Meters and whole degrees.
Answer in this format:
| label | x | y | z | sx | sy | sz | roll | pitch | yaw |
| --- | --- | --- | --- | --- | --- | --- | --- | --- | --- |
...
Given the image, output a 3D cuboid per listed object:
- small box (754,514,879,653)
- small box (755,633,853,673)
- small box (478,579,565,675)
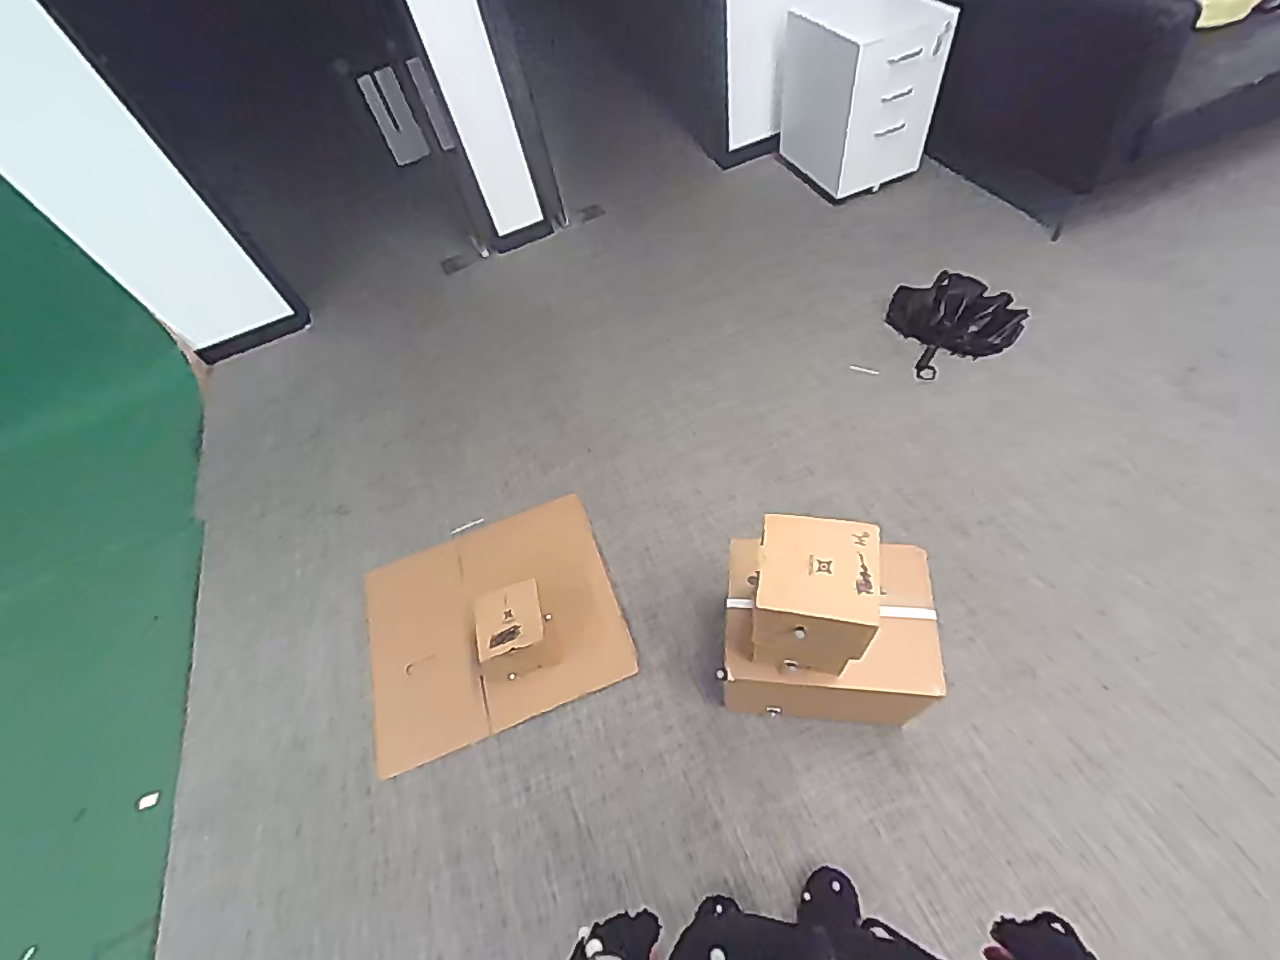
| label | x | y | z | sx | sy | sz | roll | pitch | yaw |
| --- | --- | --- | --- | --- | --- | --- | --- | --- | --- |
| small box | 0.280 | 0.172 | 0.885 | 0.179 | 0.176 | 0.168 | 3 | 55 | 13 |
| small box | 0.306 | 0.249 | 1.026 | 0.168 | 0.176 | 0.179 | 2 | 58 | 14 |
| small box | -0.304 | 0.388 | 1.401 | 0.168 | 0.176 | 0.179 | -18 | 53 | -1 |
